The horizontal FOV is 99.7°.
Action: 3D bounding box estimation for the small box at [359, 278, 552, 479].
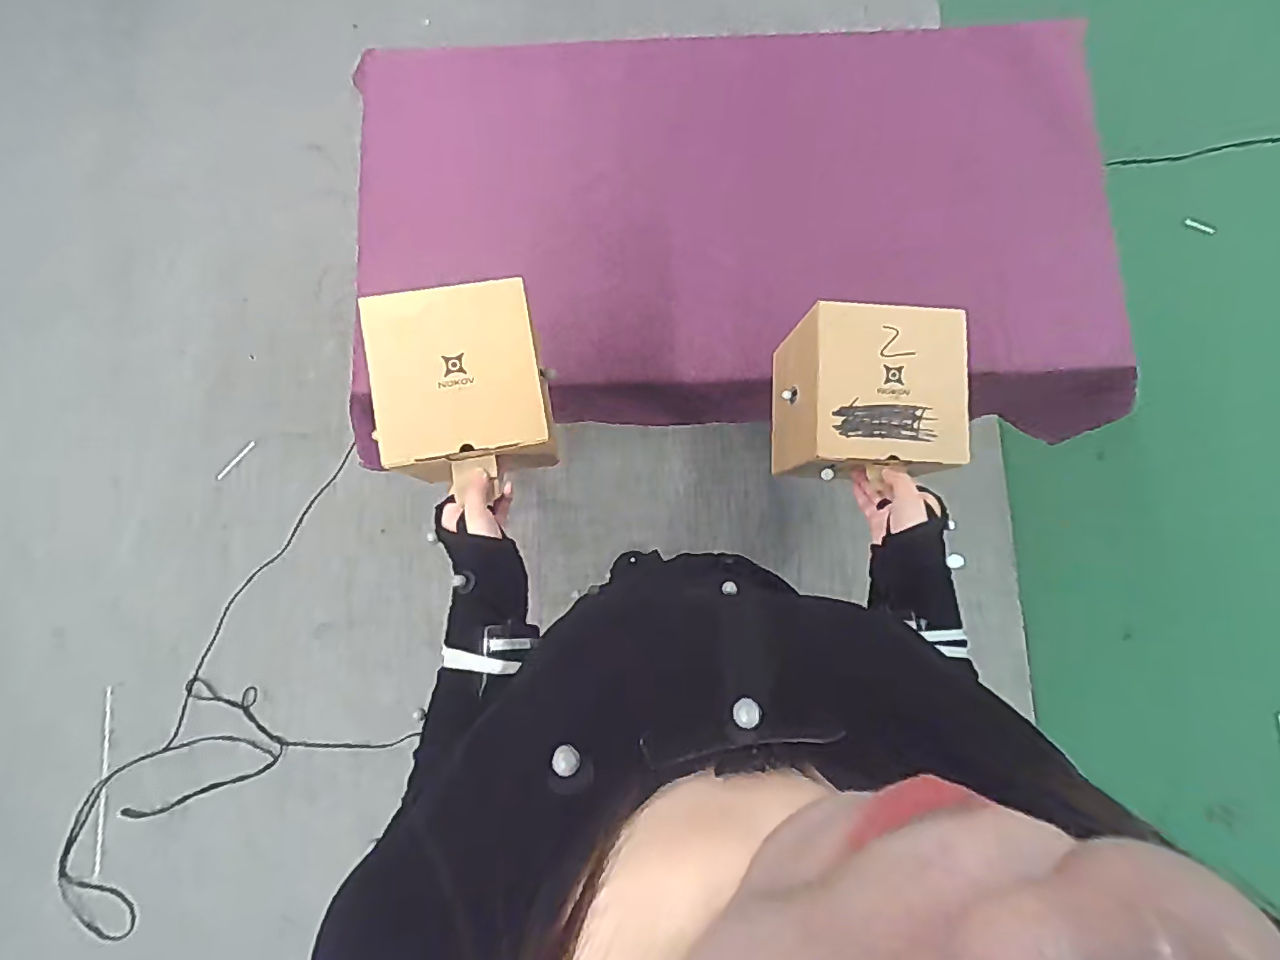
[{"bbox_3d":[-0.195,-0.104,0.616,0.168,0.176,0.179,-9,87,-8],"label":"small box"}]
